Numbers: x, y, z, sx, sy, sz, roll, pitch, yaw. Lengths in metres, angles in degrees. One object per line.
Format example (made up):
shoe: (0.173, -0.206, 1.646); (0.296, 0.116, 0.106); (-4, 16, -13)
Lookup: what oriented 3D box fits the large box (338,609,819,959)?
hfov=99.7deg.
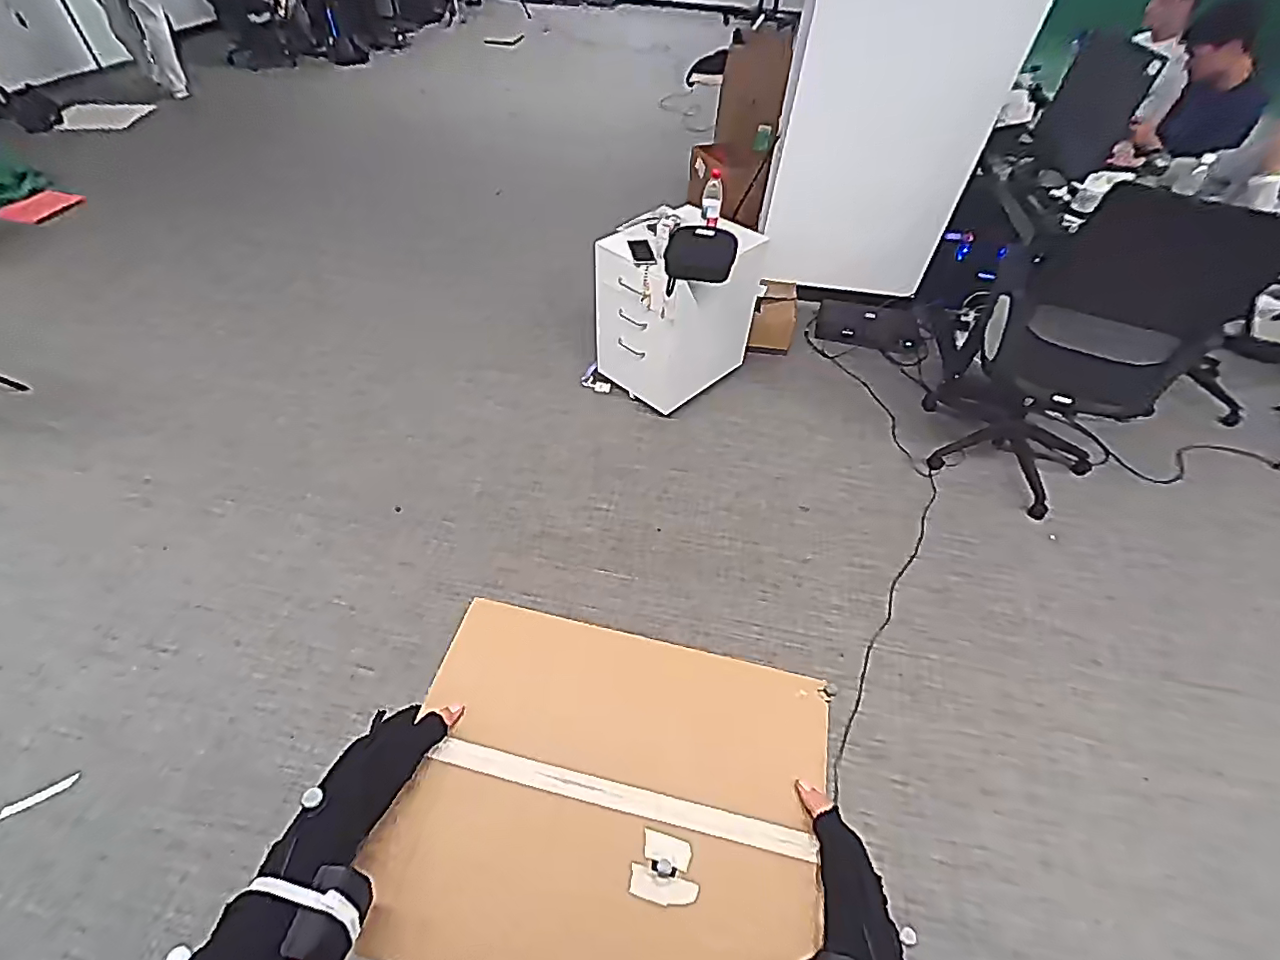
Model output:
large box: (-0.037, 0.394, 0.638); (0.408, 0.320, 0.320); (12, 54, 6)
